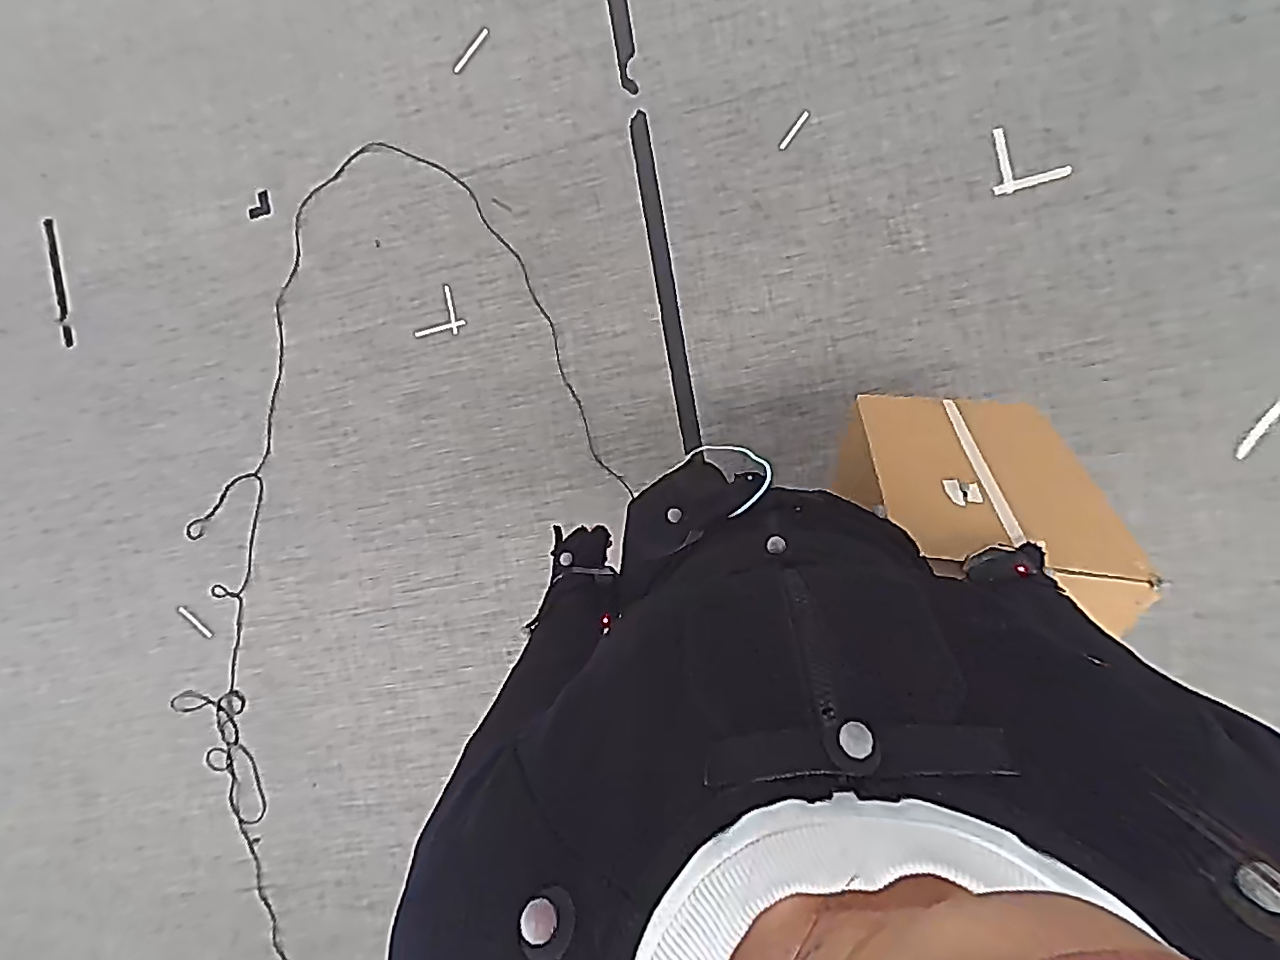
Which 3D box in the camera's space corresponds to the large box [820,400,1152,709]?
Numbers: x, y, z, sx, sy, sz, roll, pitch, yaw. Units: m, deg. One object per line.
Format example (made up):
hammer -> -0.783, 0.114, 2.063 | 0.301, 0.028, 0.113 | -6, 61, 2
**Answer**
large box -> 0.509, 0.108, 0.921 | 0.320, 0.408, 0.320 | 5, 131, 9
